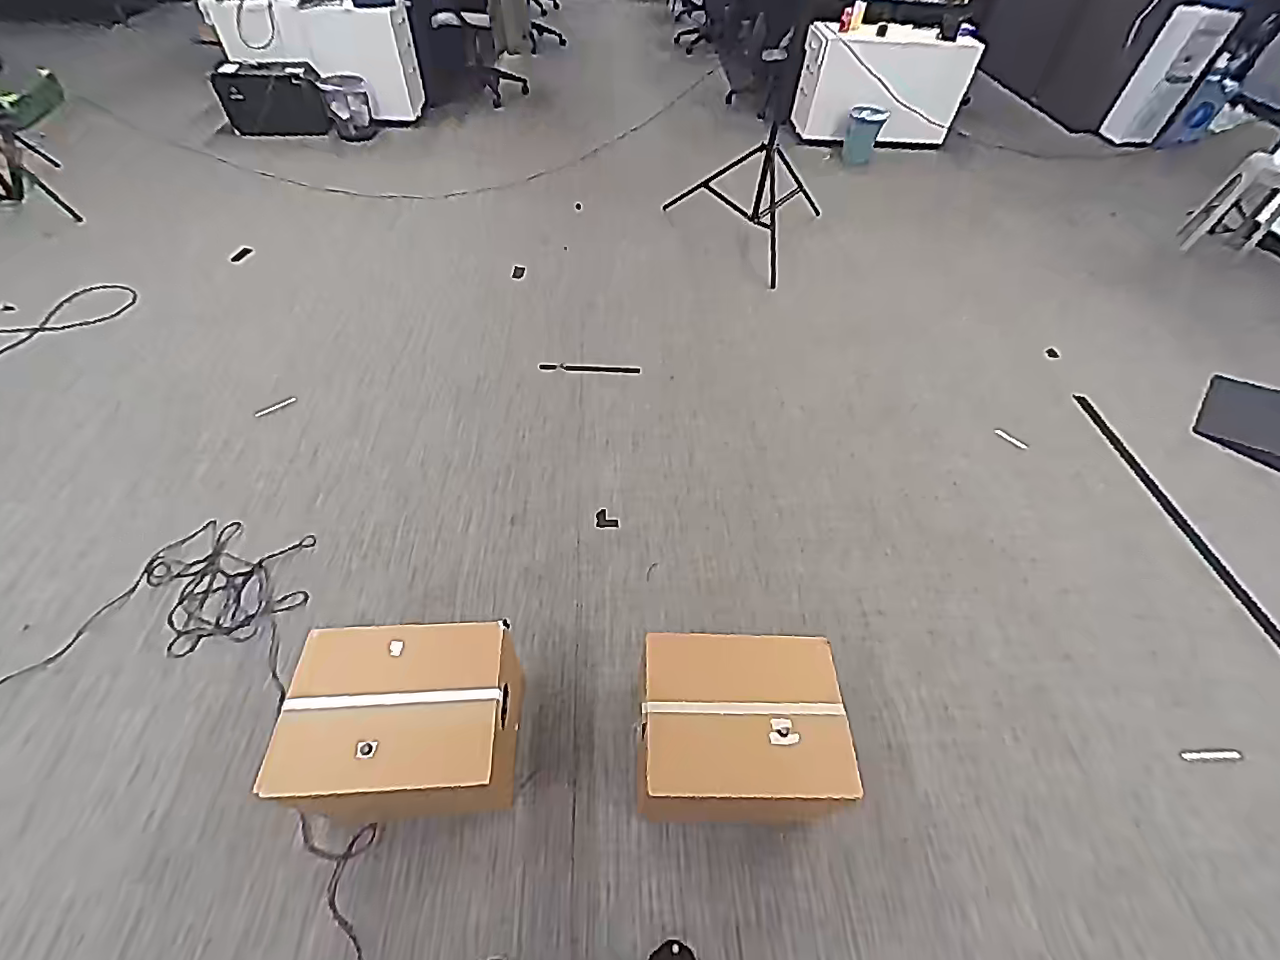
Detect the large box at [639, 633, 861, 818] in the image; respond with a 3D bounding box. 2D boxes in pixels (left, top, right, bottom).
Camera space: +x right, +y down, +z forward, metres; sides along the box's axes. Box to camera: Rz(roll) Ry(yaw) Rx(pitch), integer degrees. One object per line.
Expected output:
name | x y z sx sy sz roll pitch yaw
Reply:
large box | 0.208 0.553 1.210 0.408 0.320 0.320 3 51 -3
